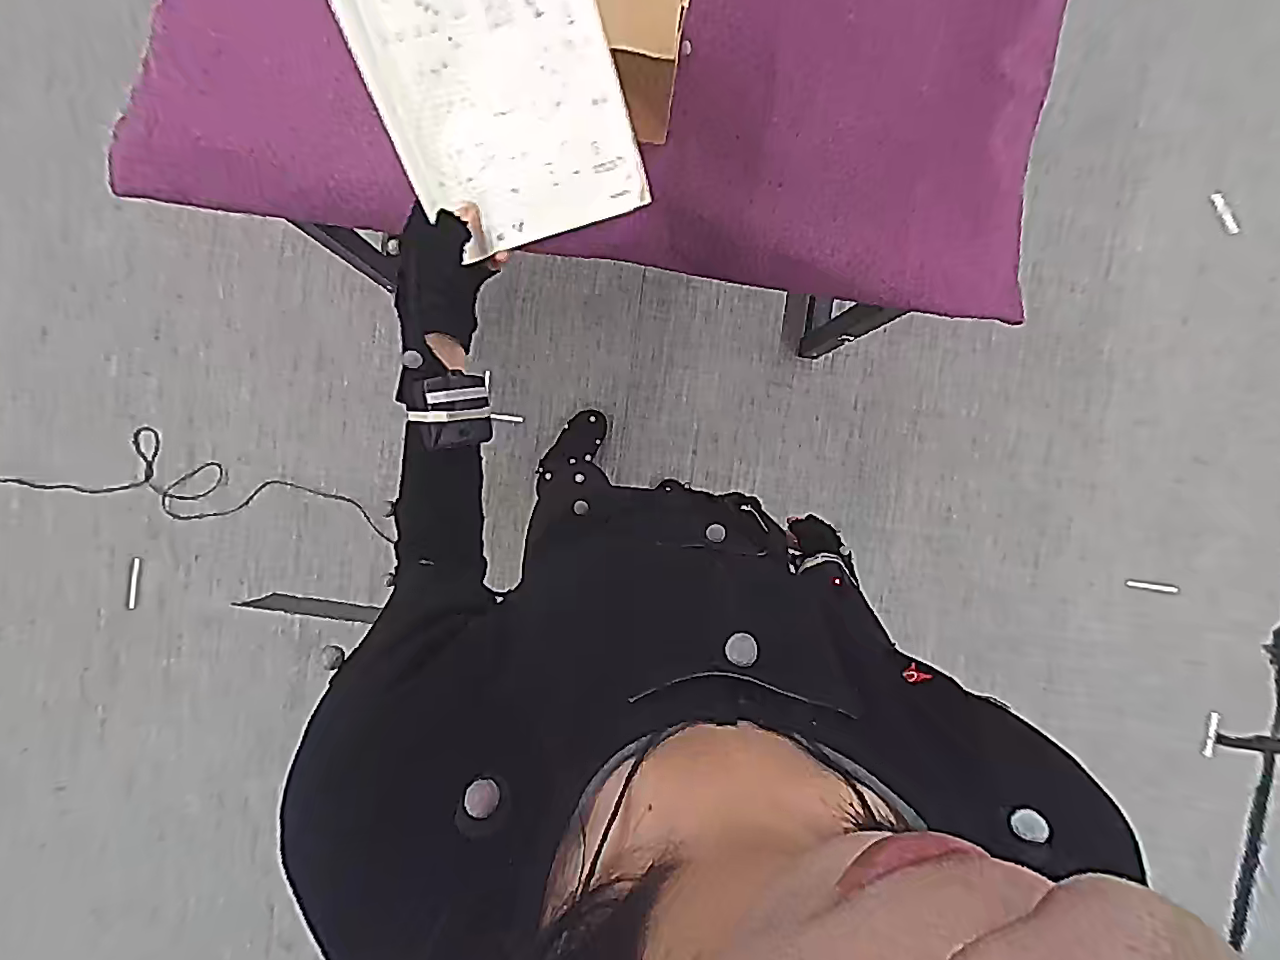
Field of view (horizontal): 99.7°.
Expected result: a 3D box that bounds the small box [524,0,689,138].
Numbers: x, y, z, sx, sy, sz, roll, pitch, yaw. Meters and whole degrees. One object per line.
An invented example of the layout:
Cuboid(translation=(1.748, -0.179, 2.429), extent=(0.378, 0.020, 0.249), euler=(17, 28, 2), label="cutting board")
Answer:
Cuboid(translation=(-0.035, -0.560, 0.668), extent=(0.179, 0.176, 0.168), euler=(7, 91, -3), label="small box")
